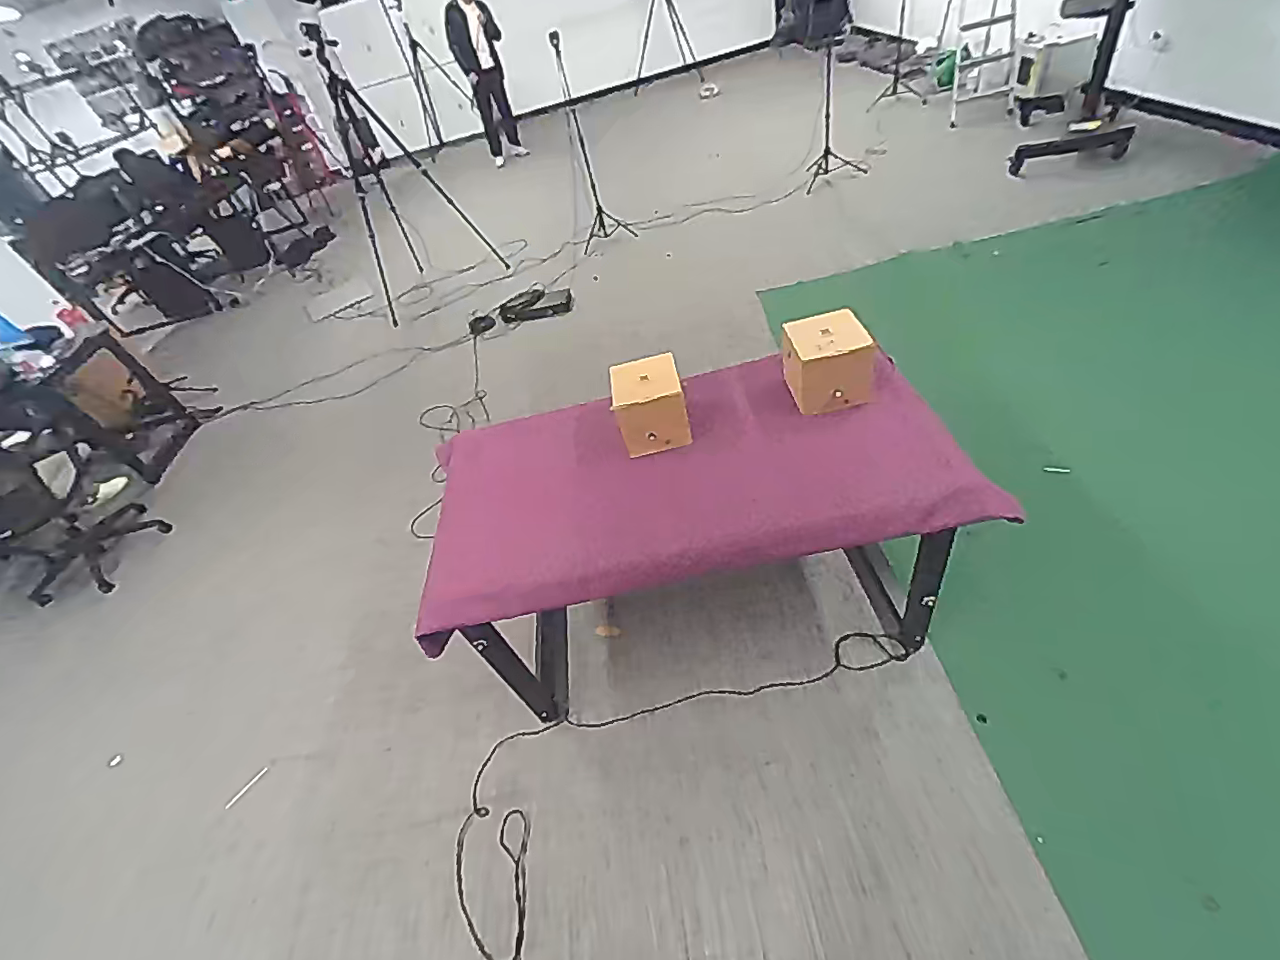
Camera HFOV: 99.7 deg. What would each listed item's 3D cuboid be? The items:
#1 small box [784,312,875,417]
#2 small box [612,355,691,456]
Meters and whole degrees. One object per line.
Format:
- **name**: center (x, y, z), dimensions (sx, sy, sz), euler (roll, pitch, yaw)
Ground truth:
- **small box**: center (0.457, -0.281, 1.327), dimensions (0.168, 0.176, 0.179), euler (-12, 45, 6)
- **small box**: center (0.028, -0.187, 1.367), dimensions (0.168, 0.176, 0.179), euler (-12, 45, 4)
